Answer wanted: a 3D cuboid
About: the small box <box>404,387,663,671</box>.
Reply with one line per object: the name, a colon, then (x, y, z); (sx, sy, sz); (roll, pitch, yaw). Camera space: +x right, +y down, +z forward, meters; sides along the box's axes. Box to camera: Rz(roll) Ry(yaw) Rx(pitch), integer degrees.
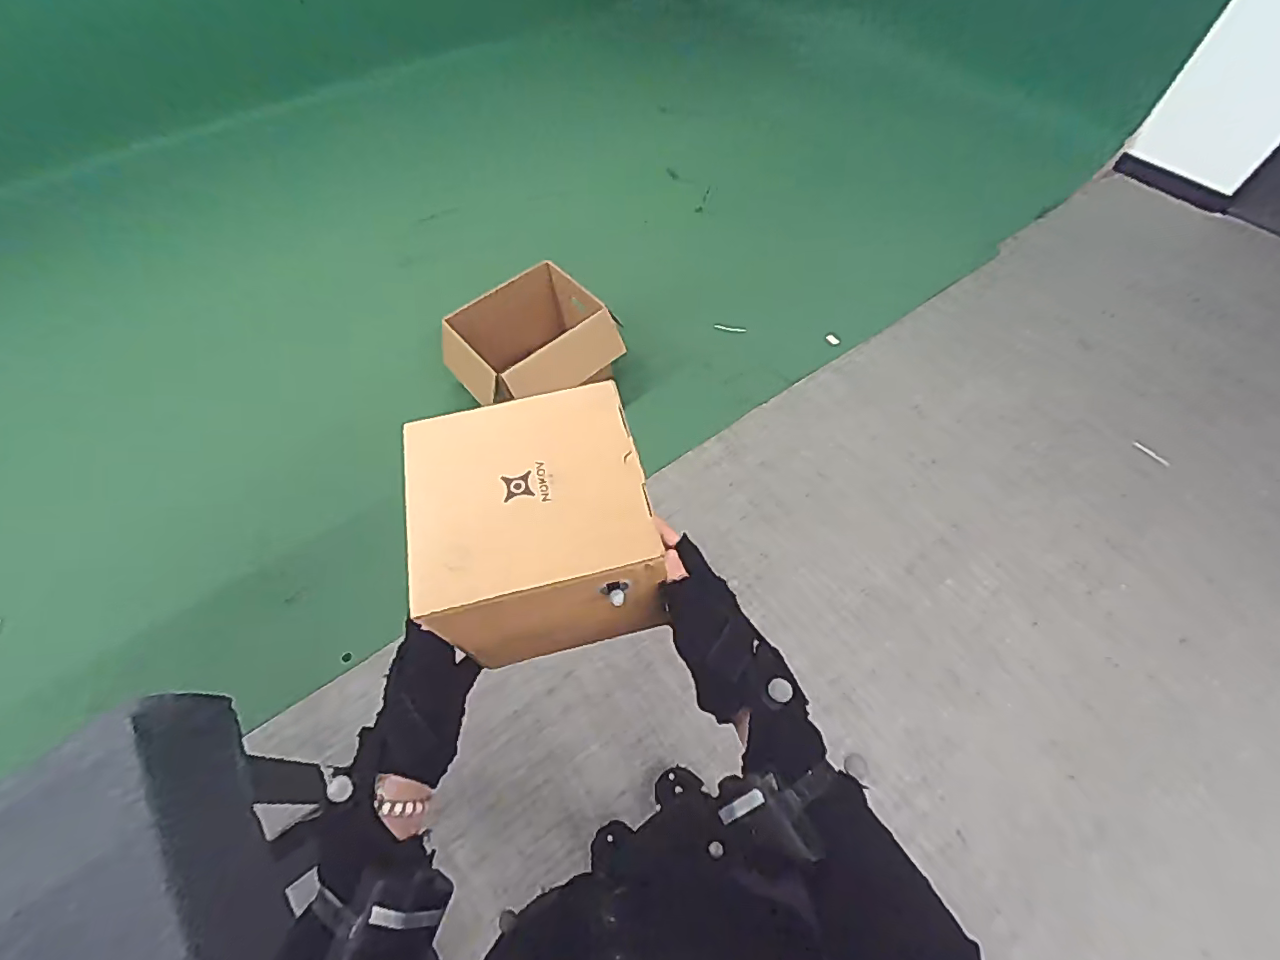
small box: (-0.083, 0.051, 0.469); (0.179, 0.176, 0.168); (-14, 59, -5)
